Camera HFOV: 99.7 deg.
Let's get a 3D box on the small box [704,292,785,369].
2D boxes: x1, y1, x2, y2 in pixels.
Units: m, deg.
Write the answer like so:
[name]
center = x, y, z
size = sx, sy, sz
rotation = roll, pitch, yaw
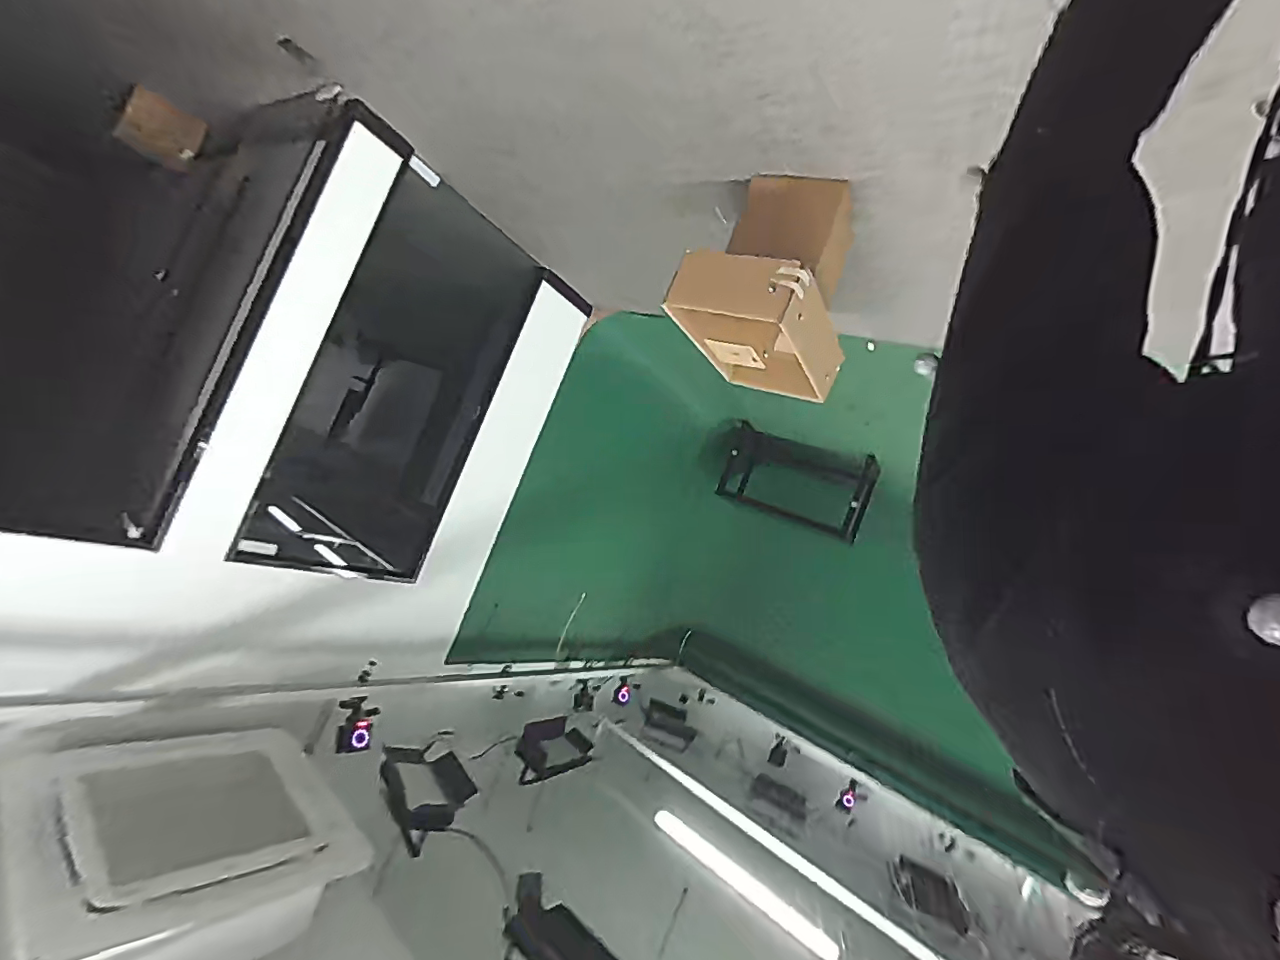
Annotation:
[small box]
center = 0.331, -0.473, 1.701
size = 0.179, 0.176, 0.168
rotation = 21, 178, 31
